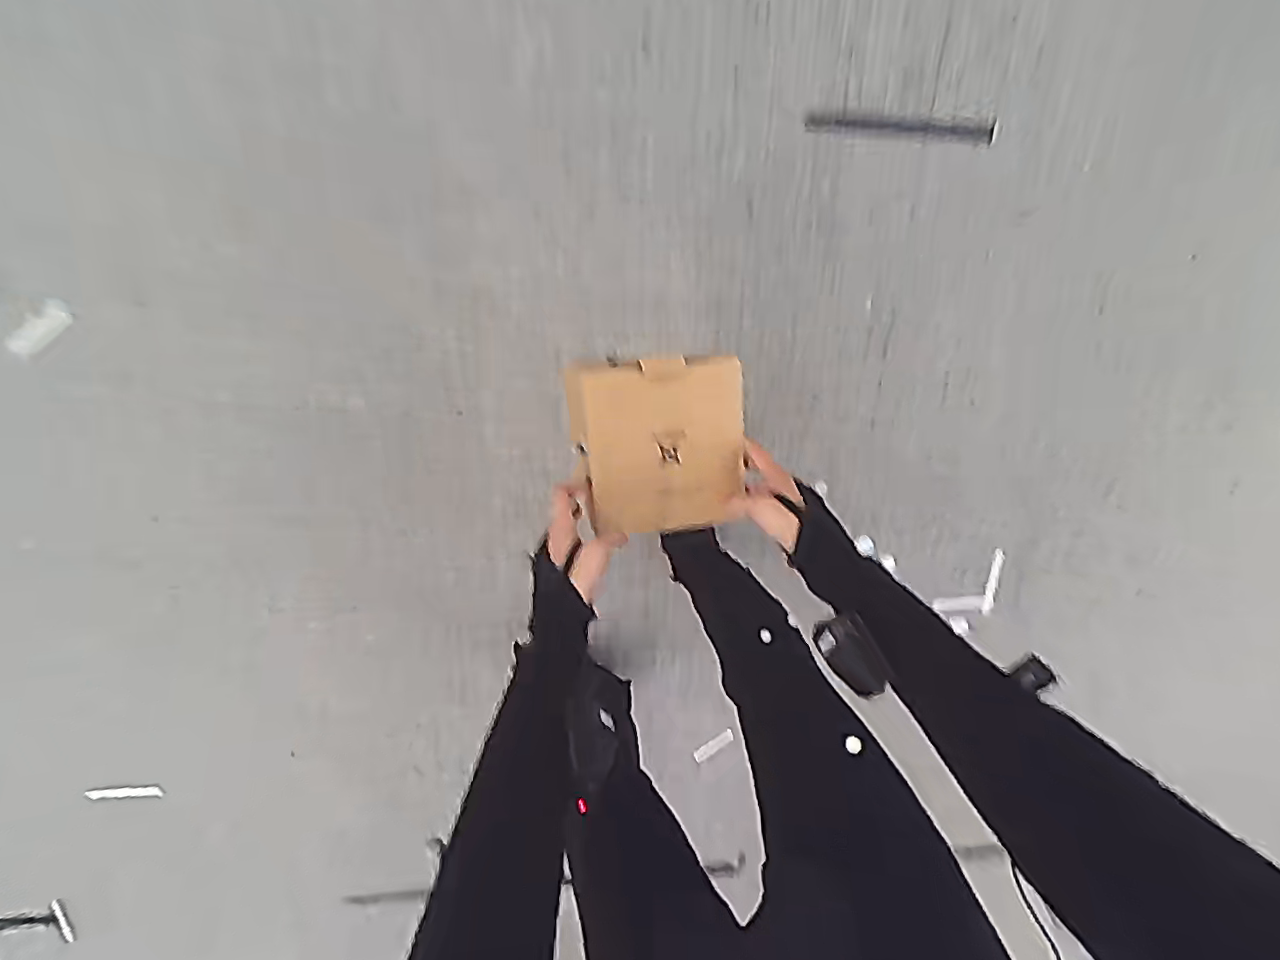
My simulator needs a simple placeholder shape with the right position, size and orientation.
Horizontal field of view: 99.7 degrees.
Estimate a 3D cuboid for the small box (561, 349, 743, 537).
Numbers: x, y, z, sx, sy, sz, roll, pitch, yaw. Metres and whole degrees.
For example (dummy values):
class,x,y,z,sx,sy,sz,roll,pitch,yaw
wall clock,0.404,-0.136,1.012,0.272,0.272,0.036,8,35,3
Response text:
class,x,y,z,sx,sy,sz,roll,pitch,yaw
small box,0.006,-0.052,0.616,0.168,0.176,0.179,-7,104,-13
